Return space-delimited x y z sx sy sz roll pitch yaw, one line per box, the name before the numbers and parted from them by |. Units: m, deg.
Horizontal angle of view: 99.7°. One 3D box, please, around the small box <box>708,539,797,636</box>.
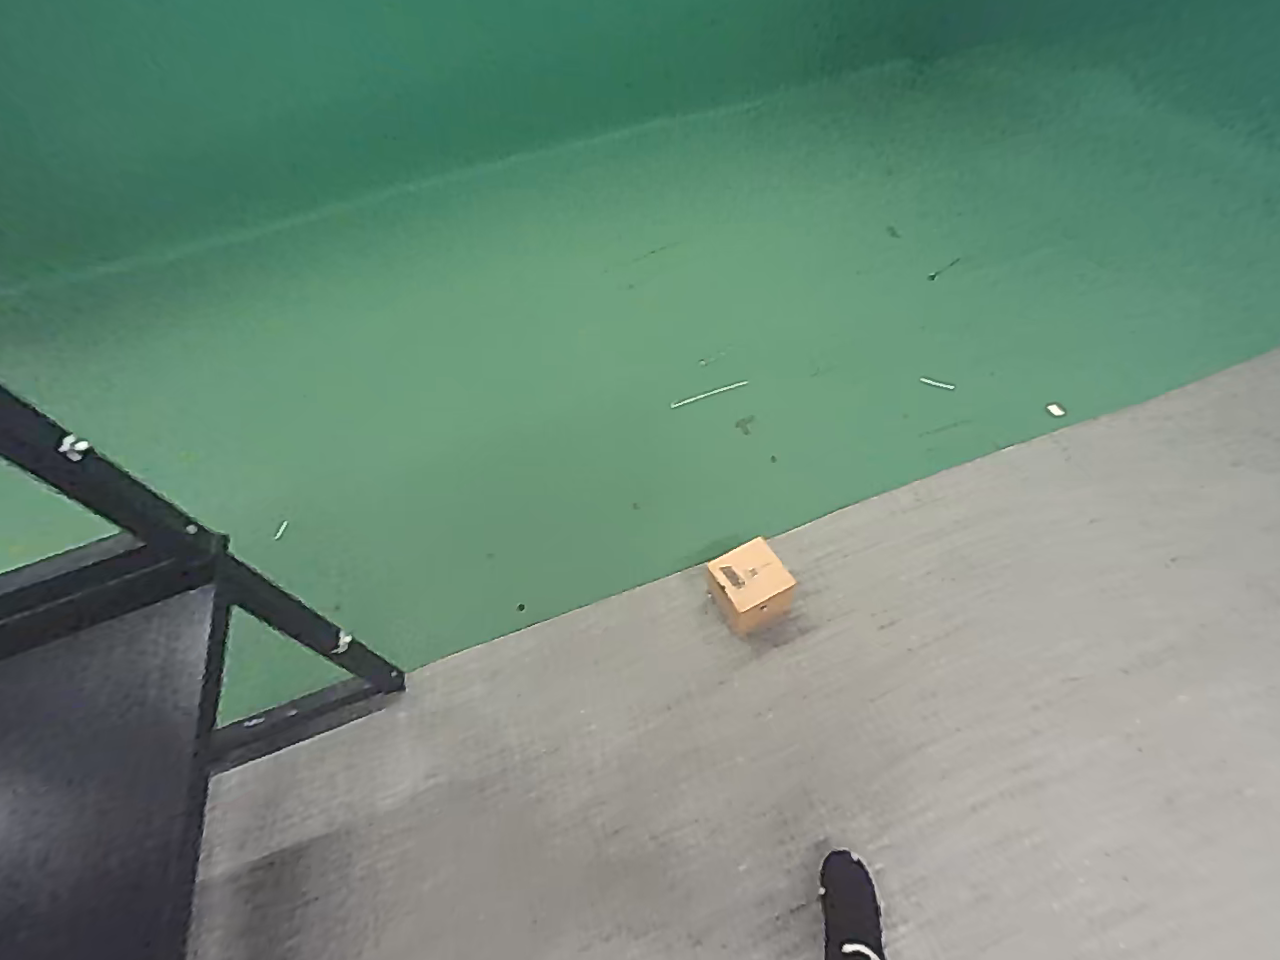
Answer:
small box | 0.303 0.298 1.476 0.179 0.176 0.168 -25 54 -11
